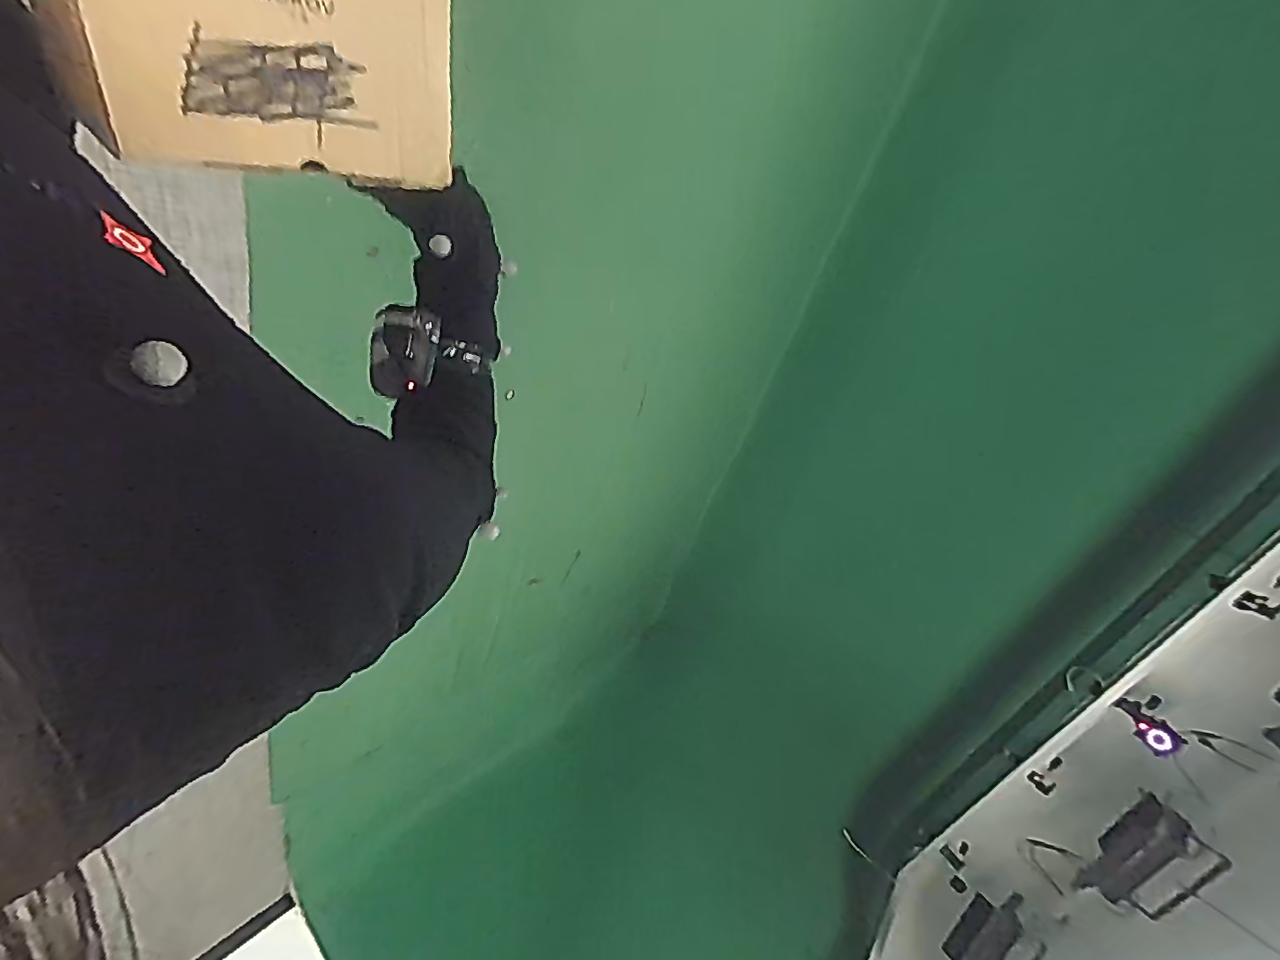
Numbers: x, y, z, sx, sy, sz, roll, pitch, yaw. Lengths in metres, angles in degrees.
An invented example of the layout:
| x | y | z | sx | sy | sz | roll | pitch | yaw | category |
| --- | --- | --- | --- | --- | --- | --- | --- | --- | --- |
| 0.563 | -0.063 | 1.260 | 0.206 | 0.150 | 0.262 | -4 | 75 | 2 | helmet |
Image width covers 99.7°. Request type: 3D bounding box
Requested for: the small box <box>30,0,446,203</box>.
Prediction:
| x | y | z | sx | sy | sz | roll | pitch | yaw | category |
| --- | --- | --- | --- | --- | --- | --- | --- | --- | --- |
| -0.230 | -0.279 | 0.309 | 0.168 | 0.176 | 0.179 | -21 | 135 | -43 | small box |
